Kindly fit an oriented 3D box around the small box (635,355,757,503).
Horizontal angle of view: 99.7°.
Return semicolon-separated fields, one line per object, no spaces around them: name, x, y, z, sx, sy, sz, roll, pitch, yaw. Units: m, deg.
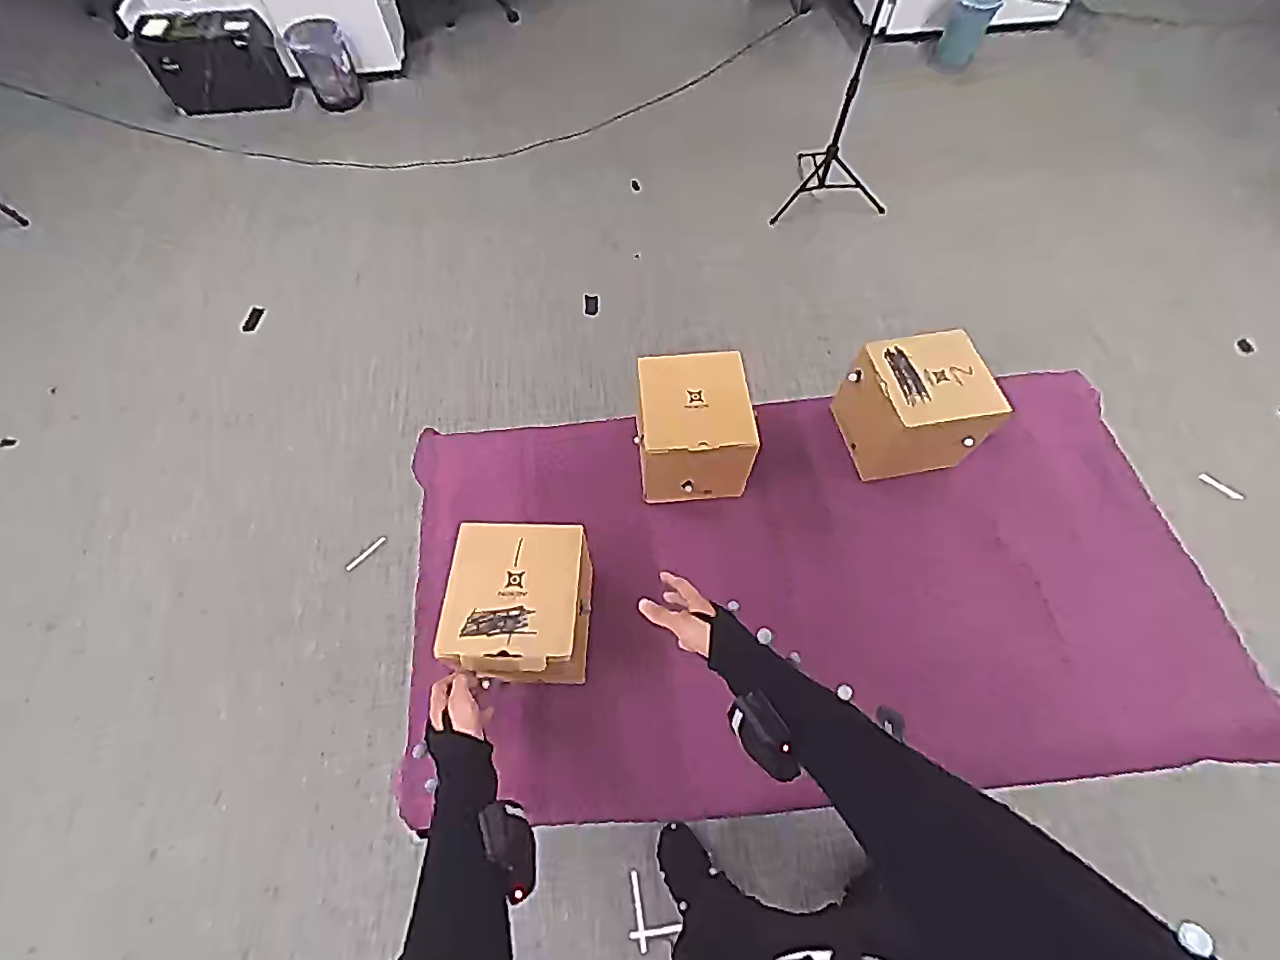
small box;0.079;-0.079;0.880;0.168;0.176;0.179;-5;63;-3

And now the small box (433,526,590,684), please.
small box;-0.161;0.178;0.746;0.168;0.176;0.179;1;60;0
